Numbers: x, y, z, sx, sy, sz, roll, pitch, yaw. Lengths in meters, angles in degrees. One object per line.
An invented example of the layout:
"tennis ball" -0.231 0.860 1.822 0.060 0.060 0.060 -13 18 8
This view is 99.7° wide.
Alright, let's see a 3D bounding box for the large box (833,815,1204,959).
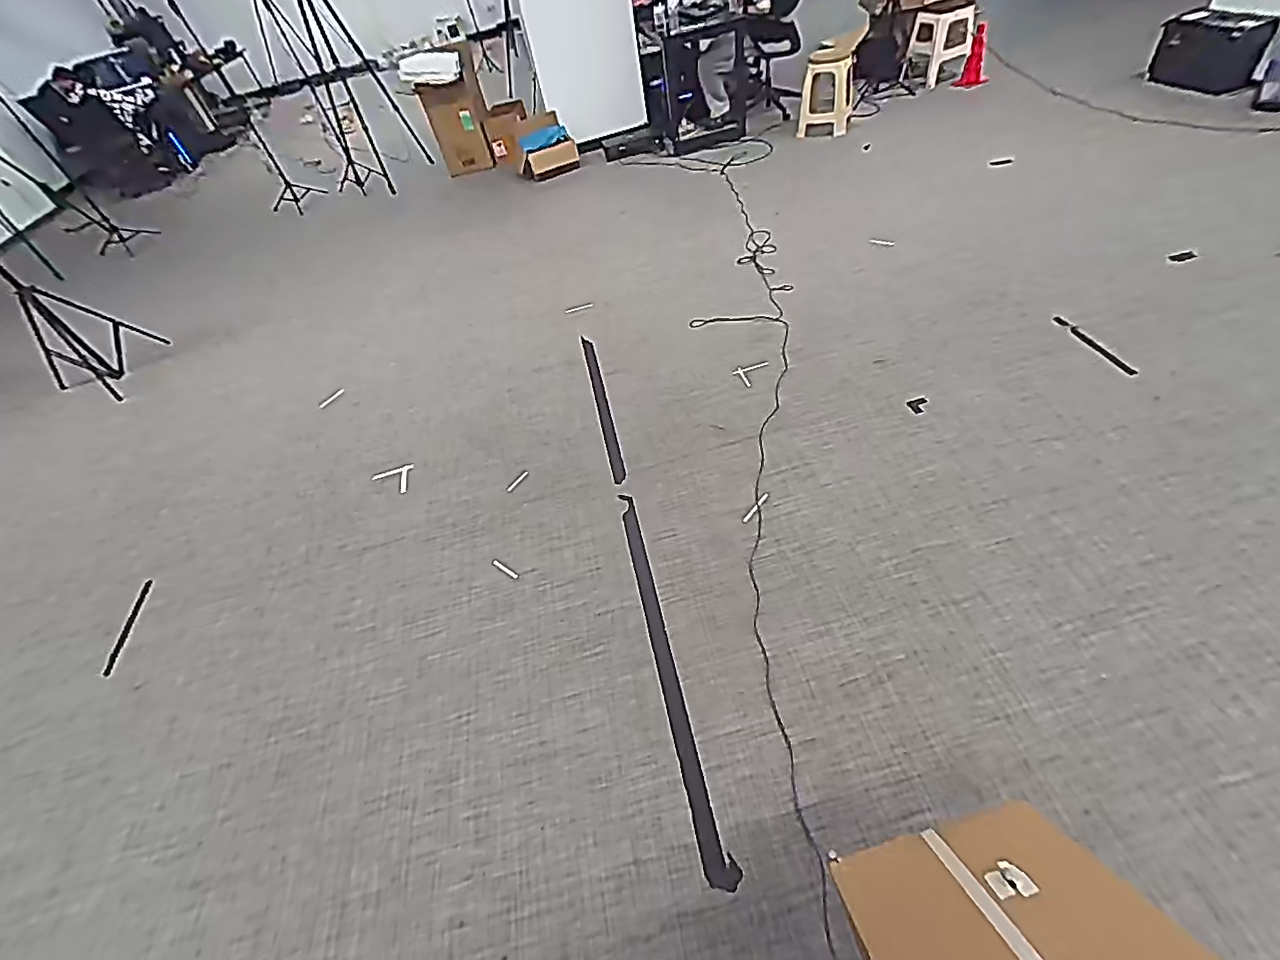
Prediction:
"large box" 0.477 0.682 0.613 0.320 0.408 0.320 -17 85 1
